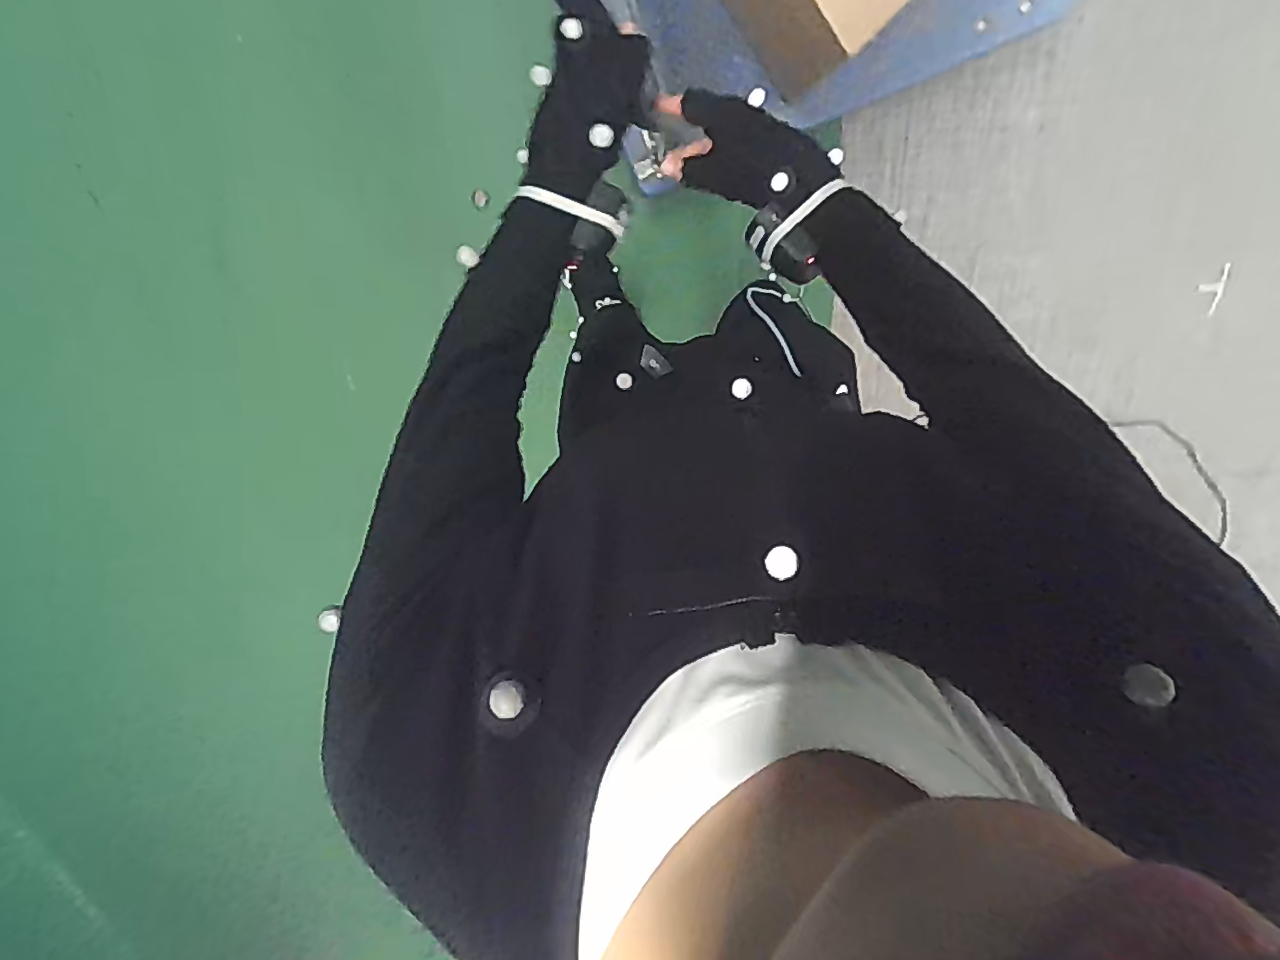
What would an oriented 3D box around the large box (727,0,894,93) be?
[{"bbox_3d":[0.263,-0.889,0.789,0.320,0.320,0.408,-39,109,15],"label":"large box"}]
